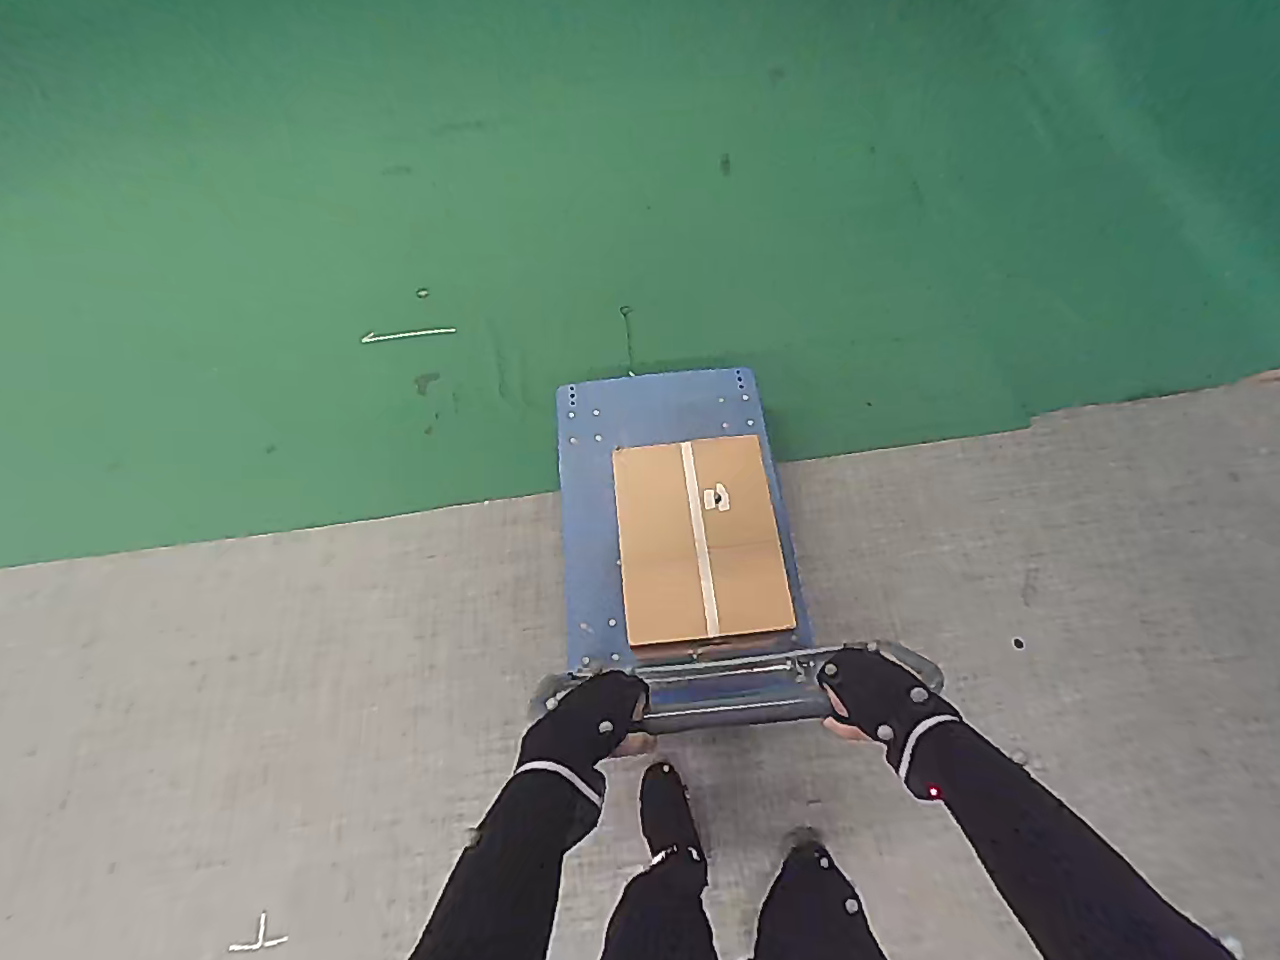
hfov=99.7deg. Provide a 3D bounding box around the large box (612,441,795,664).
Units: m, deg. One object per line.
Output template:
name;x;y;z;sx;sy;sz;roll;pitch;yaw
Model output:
large box;0.121;0.174;1.206;0.320;0.320;0.408;-6;66;-1
